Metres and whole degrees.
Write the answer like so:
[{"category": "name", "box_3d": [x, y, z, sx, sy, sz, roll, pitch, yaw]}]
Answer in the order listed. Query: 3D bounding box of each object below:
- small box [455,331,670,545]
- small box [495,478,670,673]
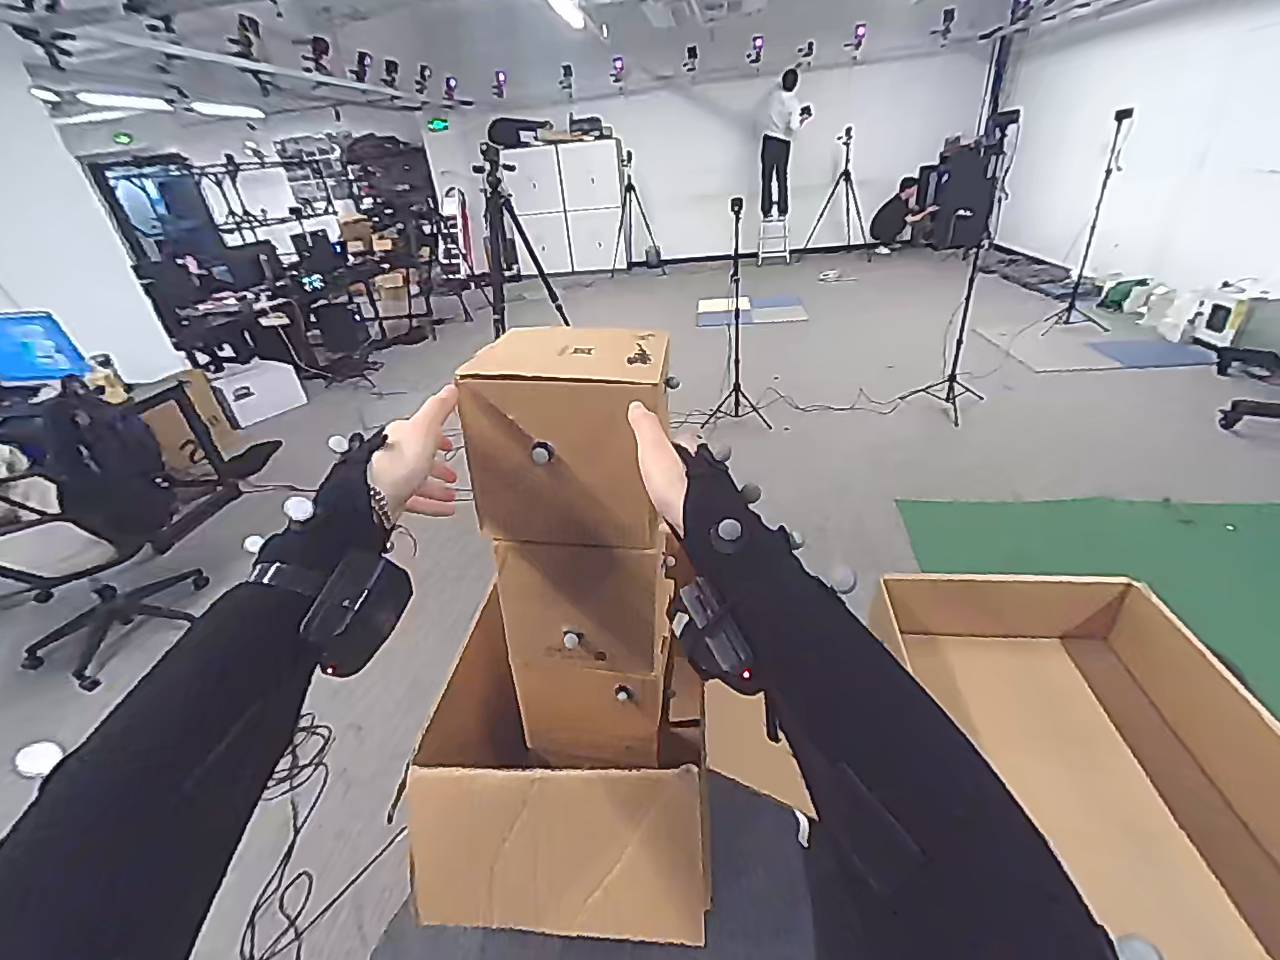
[{"category": "small box", "box_3d": [-0.061, -0.048, 0.553, 0.179, 0.176, 0.168, 2, 30, 5]}, {"category": "small box", "box_3d": [-0.055, 0.095, 0.634, 0.168, 0.176, 0.179, 3, 30, 5]}]
